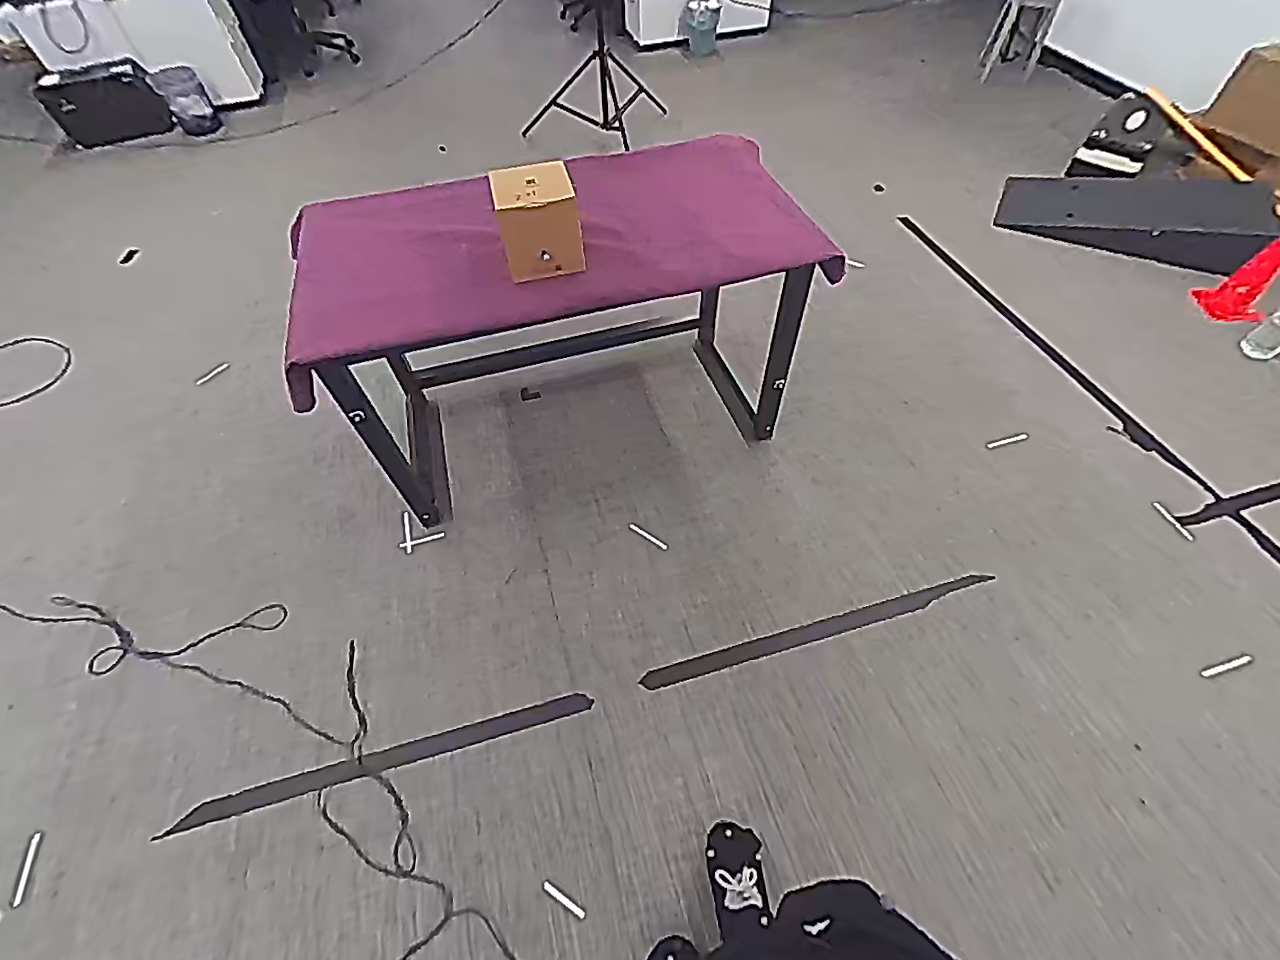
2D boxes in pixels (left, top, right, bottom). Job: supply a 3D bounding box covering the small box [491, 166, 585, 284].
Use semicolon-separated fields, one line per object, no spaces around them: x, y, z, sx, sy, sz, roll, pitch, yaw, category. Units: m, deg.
-0.224;-0.565;1.203;0.168;0.176;0.179;-13;55;-6;small box
